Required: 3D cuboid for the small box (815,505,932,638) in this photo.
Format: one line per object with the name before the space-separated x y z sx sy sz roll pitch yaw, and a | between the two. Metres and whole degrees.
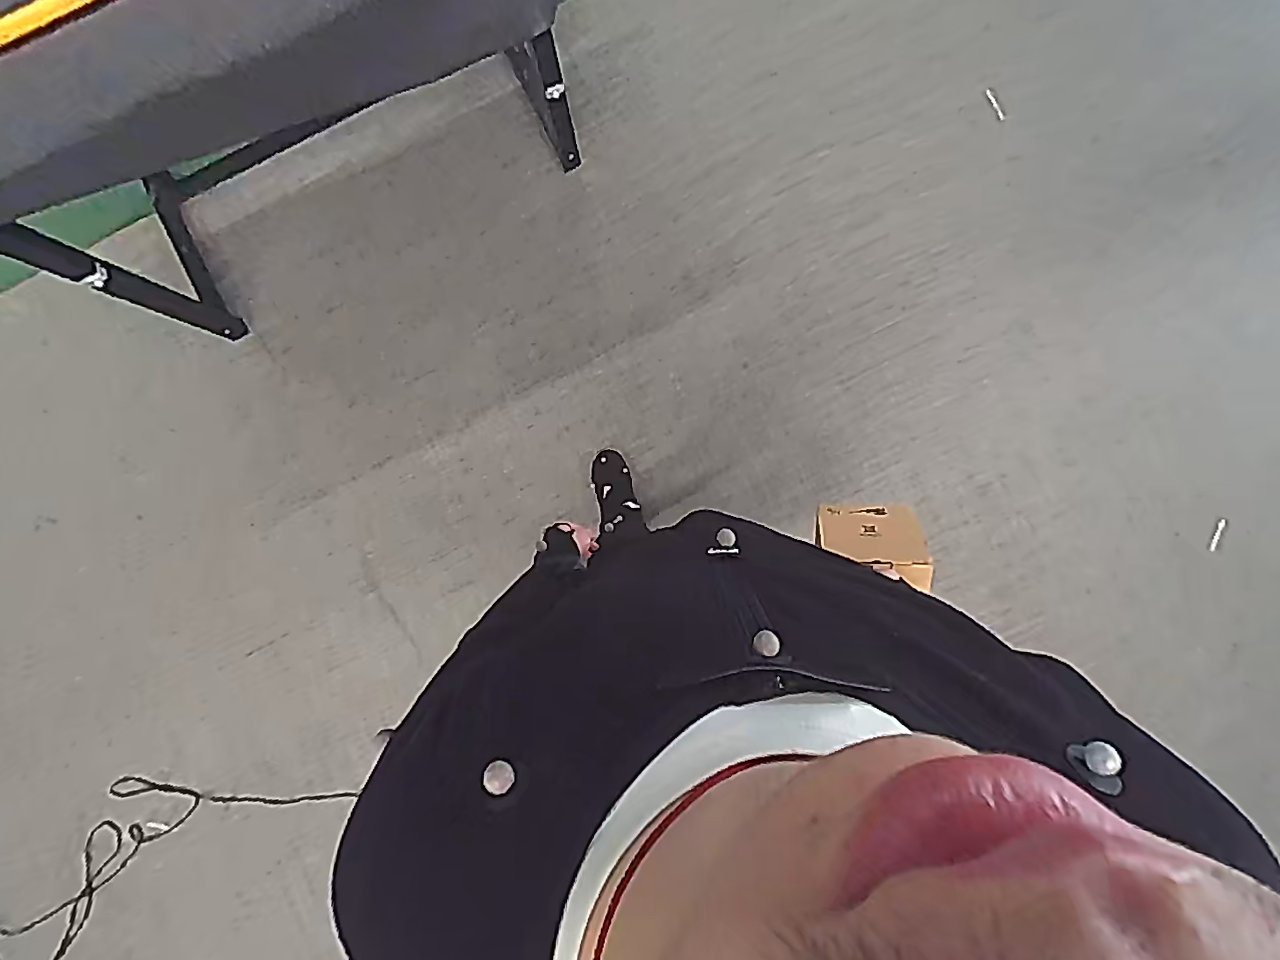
small box | 0.407 0.163 0.967 0.168 0.179 0.176 -3 118 14
